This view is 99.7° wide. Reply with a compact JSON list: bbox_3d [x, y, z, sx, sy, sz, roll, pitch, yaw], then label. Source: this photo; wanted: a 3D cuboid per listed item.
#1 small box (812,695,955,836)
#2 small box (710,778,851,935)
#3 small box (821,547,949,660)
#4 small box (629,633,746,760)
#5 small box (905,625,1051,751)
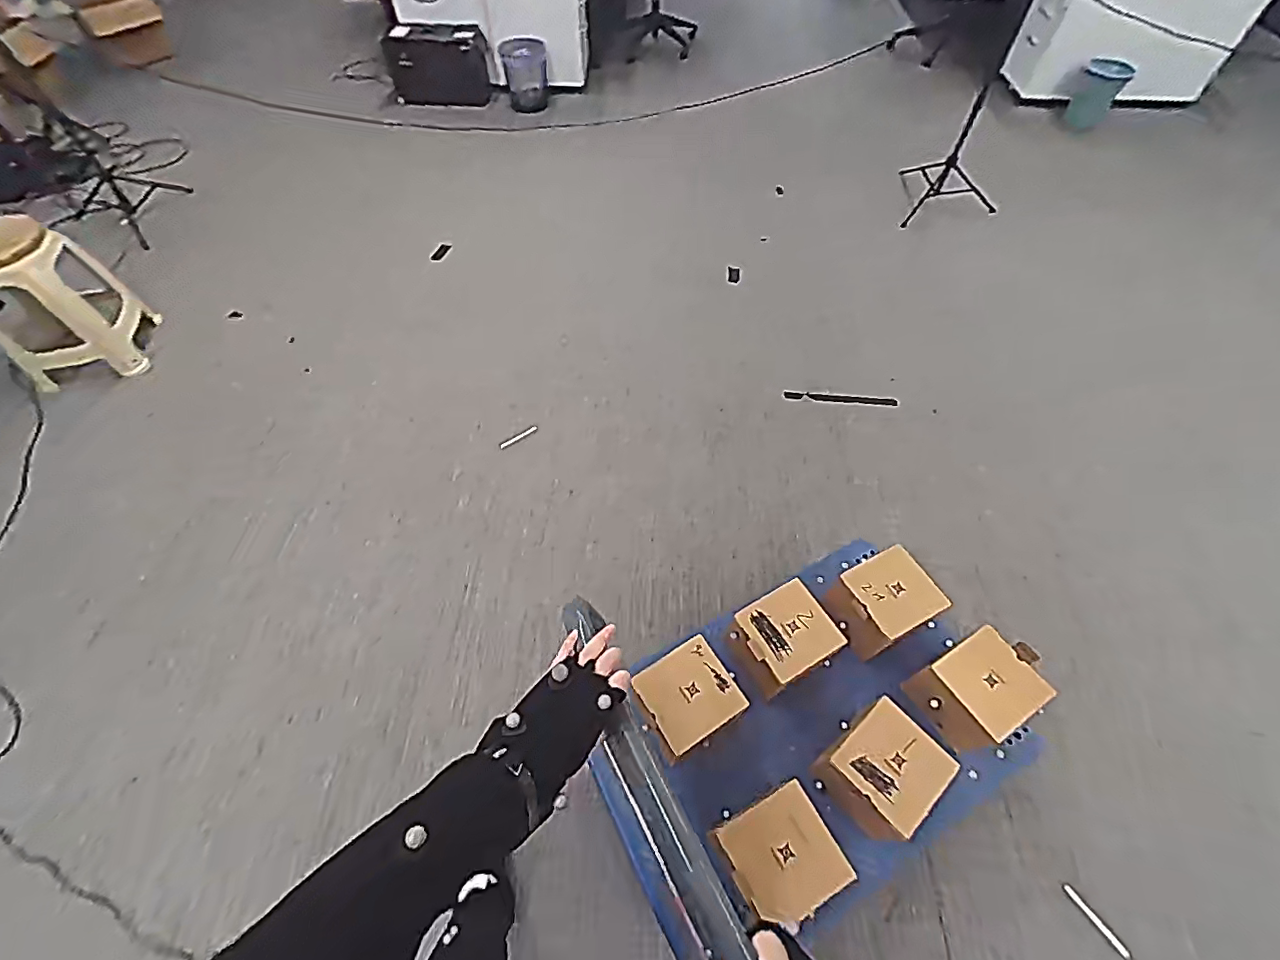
[{"bbox_3d":[0.459,0.560,1.052,0.179,0.176,0.168,-35,63,-22],"label":"small box"},{"bbox_3d":[0.239,0.671,0.977,0.179,0.176,0.168,-23,60,-16],"label":"small box"},{"bbox_3d":[0.548,0.285,1.235,0.179,0.176,0.168,-23,59,-14],"label":"small box"},{"bbox_3d":[0.093,0.453,1.118,0.179,0.176,0.168,-27,62,-17],"label":"small box"},{"bbox_3d":[0.691,0.442,1.134,0.179,0.176,0.168,-27,60,-17],"label":"small box"}]
